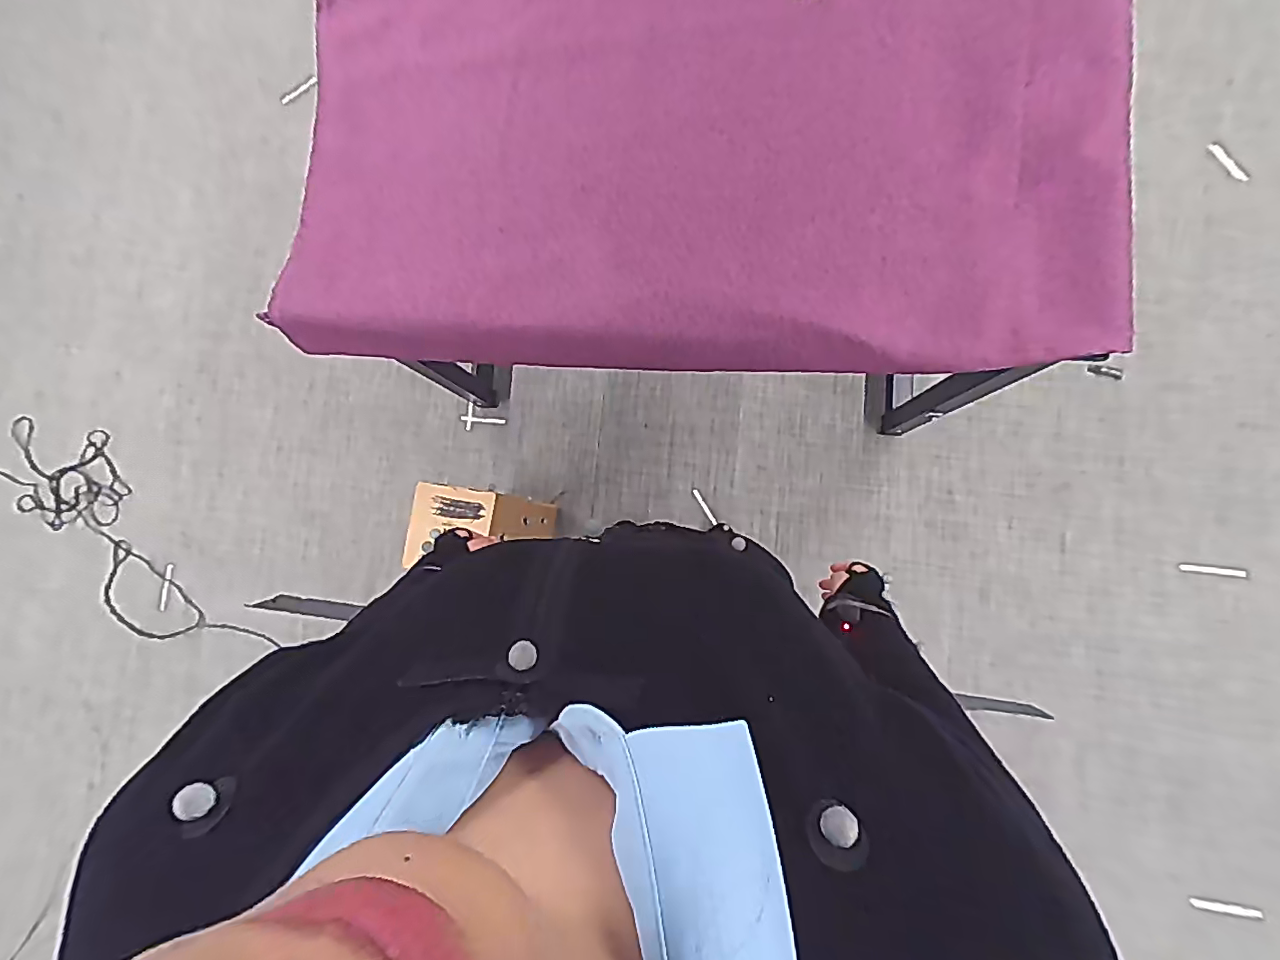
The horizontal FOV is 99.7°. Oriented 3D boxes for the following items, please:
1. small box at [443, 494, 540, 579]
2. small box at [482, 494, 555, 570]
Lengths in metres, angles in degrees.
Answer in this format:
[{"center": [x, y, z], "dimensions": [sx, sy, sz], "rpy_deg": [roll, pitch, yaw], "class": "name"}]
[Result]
[{"center": [-0.346, 0.133, 1.292], "dimensions": [0.168, 0.176, 0.179], "rpy_deg": [6, 86, 6], "class": "small box"}, {"center": [-0.338, 0.144, 1.457], "dimensions": [0.168, 0.176, 0.179], "rpy_deg": [11, 86, 6], "class": "small box"}]
